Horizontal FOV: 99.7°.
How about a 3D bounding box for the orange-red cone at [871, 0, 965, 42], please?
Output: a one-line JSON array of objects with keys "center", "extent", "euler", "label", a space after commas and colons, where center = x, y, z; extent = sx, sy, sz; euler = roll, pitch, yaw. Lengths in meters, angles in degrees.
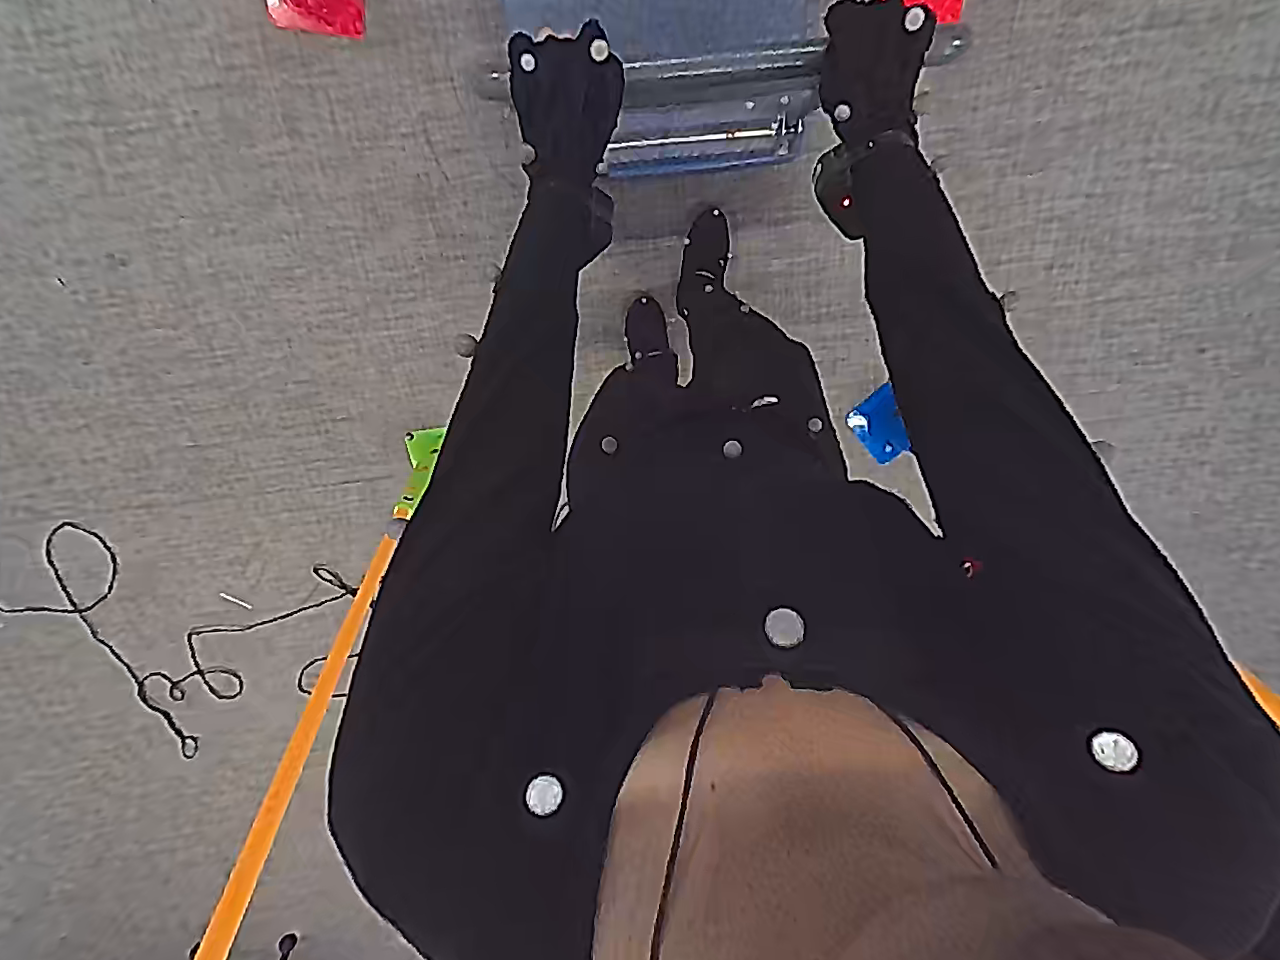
[{"center": [0.613, -1.010, 1.003], "extent": [0.198, 0.360, 0.199], "euler": [4, 111, -3], "label": "orange-red cone"}]
